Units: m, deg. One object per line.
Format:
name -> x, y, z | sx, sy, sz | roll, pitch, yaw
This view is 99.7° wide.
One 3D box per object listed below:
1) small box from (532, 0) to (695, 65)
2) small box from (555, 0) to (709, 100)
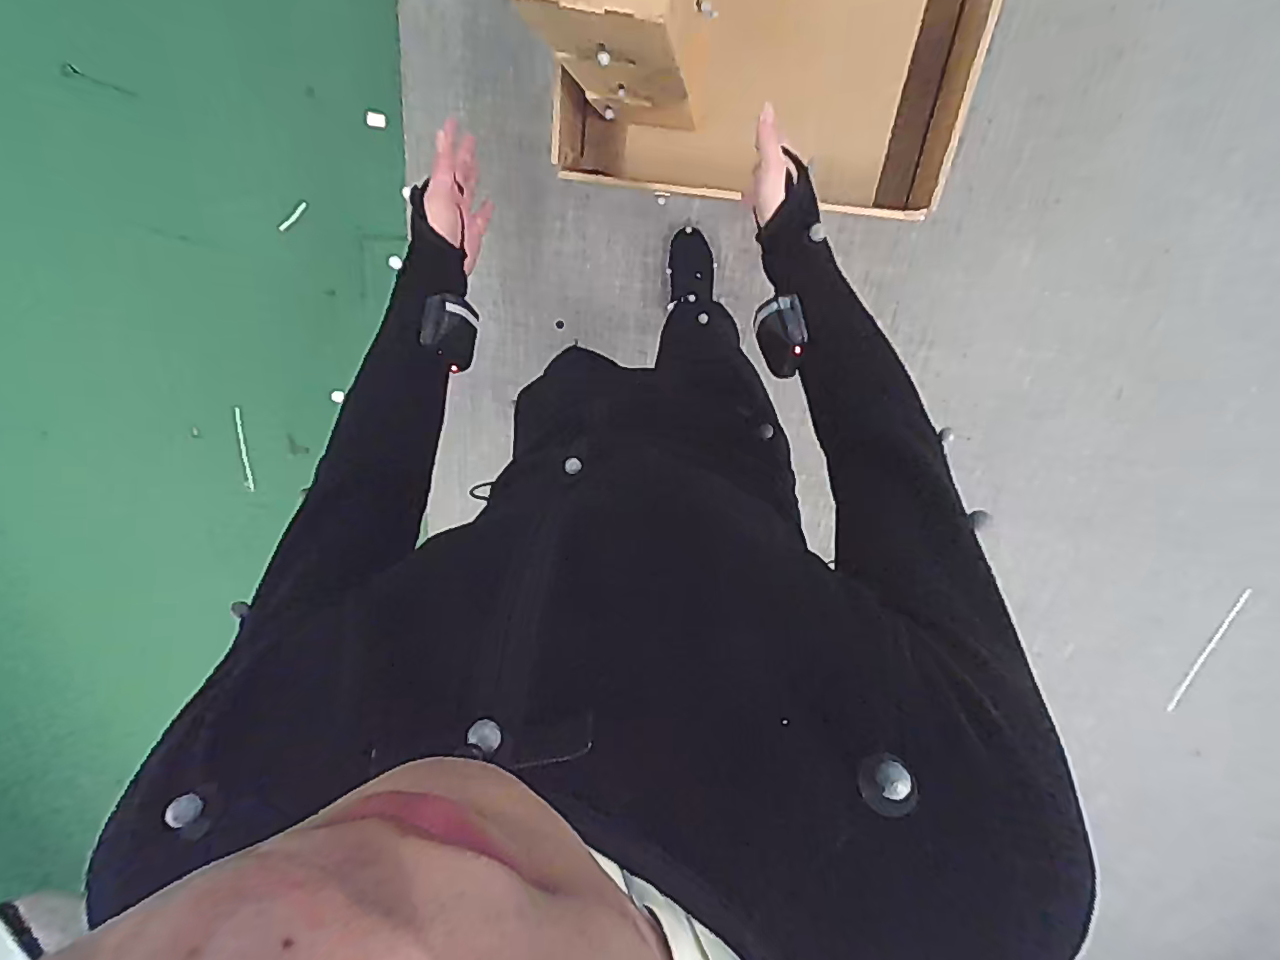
small box -> -0.023, -0.558, 0.541 | 0.168, 0.176, 0.179 | 14, 115, 3
small box -> -0.001, -0.622, 0.693 | 0.168, 0.176, 0.179 | 11, 114, 4
